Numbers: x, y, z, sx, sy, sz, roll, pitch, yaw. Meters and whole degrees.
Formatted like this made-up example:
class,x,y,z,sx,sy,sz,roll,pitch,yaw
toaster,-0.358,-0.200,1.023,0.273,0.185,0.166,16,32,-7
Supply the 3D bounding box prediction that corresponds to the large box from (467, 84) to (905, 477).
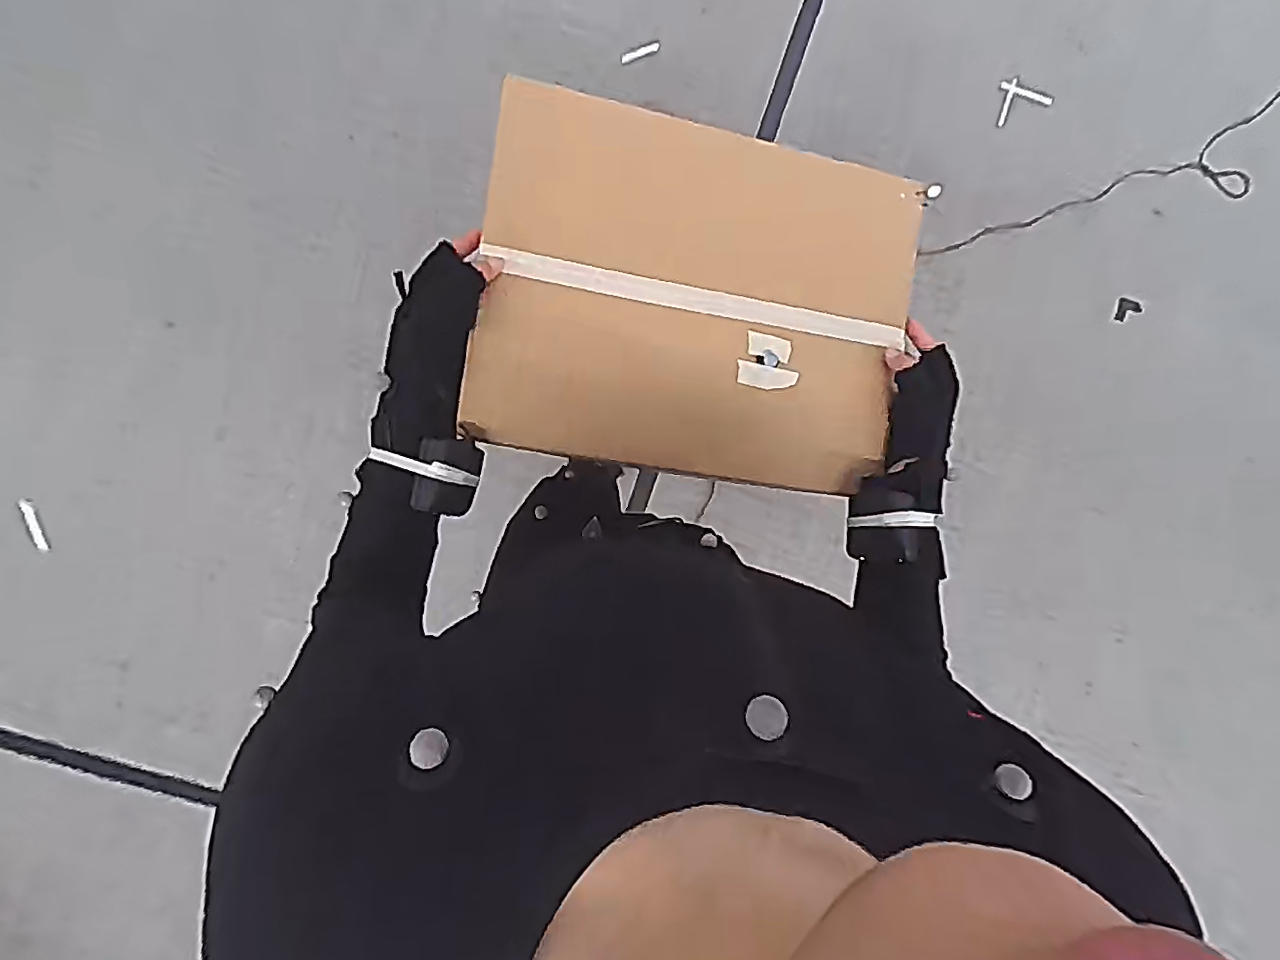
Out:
class,x,y,z,sx,sy,sz,roll,pitch,yaw
large box,0.029,-0.183,0.658,0.408,0.320,0.320,8,92,-10
